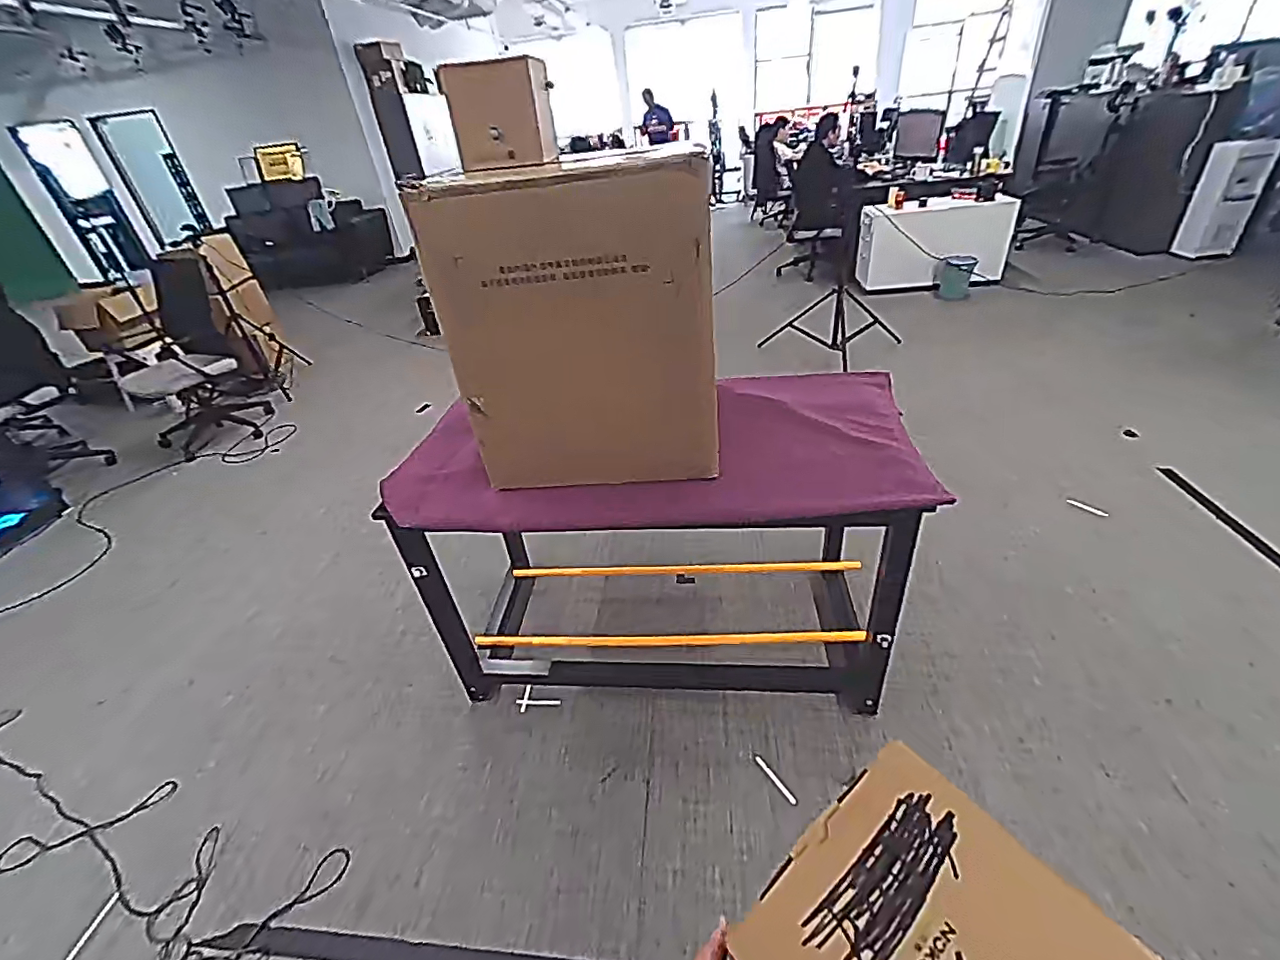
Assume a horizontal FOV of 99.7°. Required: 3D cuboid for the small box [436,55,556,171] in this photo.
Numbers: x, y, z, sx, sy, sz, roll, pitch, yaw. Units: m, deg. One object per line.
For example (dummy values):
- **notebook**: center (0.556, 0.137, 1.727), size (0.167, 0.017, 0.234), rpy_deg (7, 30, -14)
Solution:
- **small box**: center (-0.269, -0.713, 1.060), size (0.168, 0.176, 0.179), rpy_deg (-3, 34, 6)
